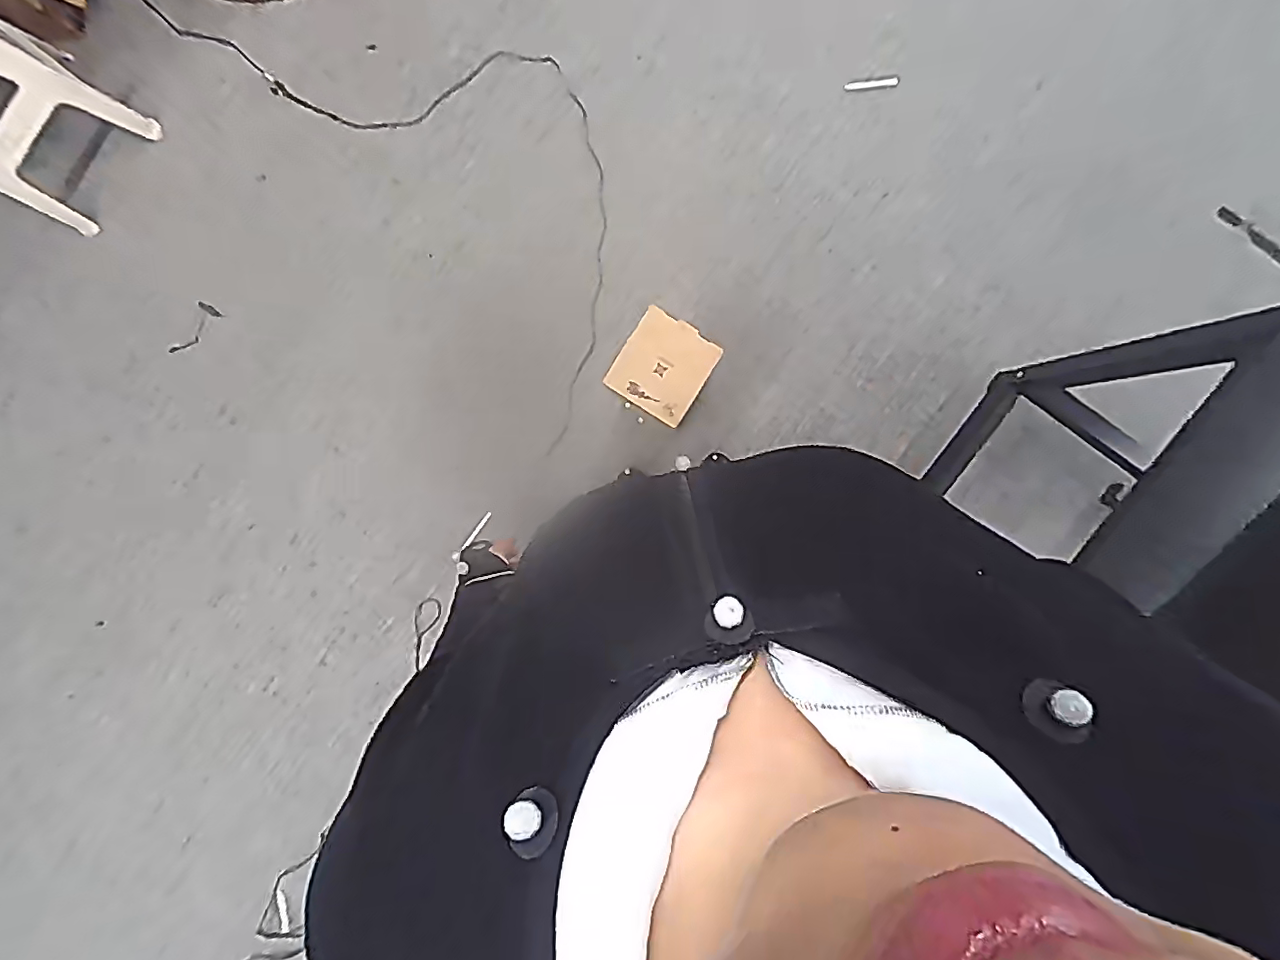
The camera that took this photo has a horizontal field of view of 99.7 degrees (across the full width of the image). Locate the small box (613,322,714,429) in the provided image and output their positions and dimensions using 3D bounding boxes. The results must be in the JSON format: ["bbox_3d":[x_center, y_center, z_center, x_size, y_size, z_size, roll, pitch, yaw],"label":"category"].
[{"bbox_3d":[0.056,-0.231,1.255,0.168,0.176,0.179,29,92,1],"label":"small box"}]

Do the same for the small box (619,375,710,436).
[{"bbox_3d":[0.063,-0.231,1.417,0.168,0.176,0.179,33,94,2],"label":"small box"}]
